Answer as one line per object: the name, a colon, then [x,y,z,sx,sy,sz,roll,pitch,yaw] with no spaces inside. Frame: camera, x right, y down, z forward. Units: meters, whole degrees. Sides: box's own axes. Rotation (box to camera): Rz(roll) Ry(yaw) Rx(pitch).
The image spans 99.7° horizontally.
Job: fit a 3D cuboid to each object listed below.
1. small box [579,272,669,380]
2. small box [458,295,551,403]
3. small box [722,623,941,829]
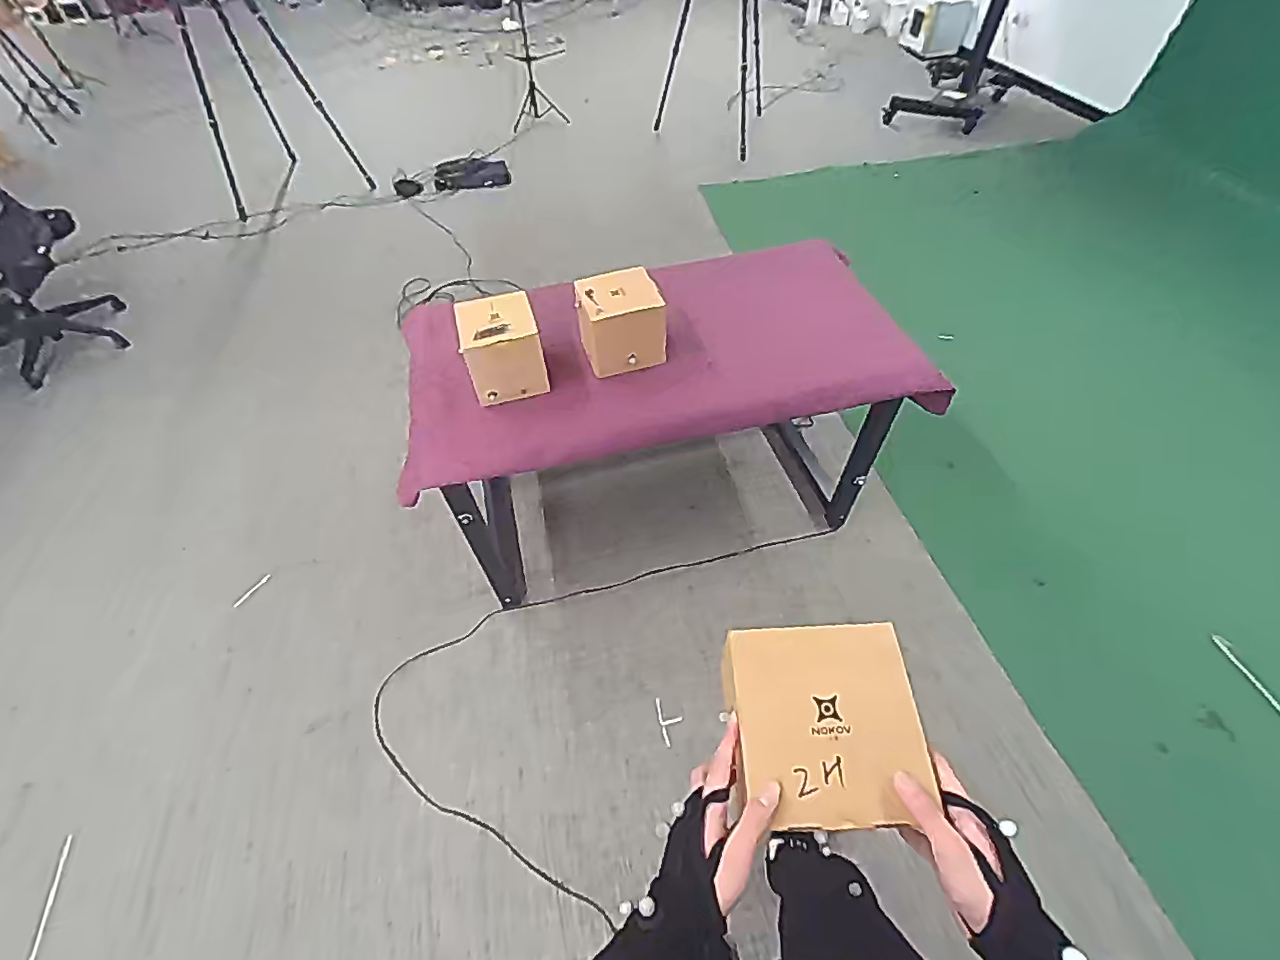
small box: [-0.040,-0.366,1.296,0.179,0.176,0.168,-15,53,-10]
small box: [-0.309,-0.295,1.248,0.168,0.176,0.179,-14,52,-9]
small box: [0.179,0.263,0.571,0.168,0.176,0.179,-3,59,4]
